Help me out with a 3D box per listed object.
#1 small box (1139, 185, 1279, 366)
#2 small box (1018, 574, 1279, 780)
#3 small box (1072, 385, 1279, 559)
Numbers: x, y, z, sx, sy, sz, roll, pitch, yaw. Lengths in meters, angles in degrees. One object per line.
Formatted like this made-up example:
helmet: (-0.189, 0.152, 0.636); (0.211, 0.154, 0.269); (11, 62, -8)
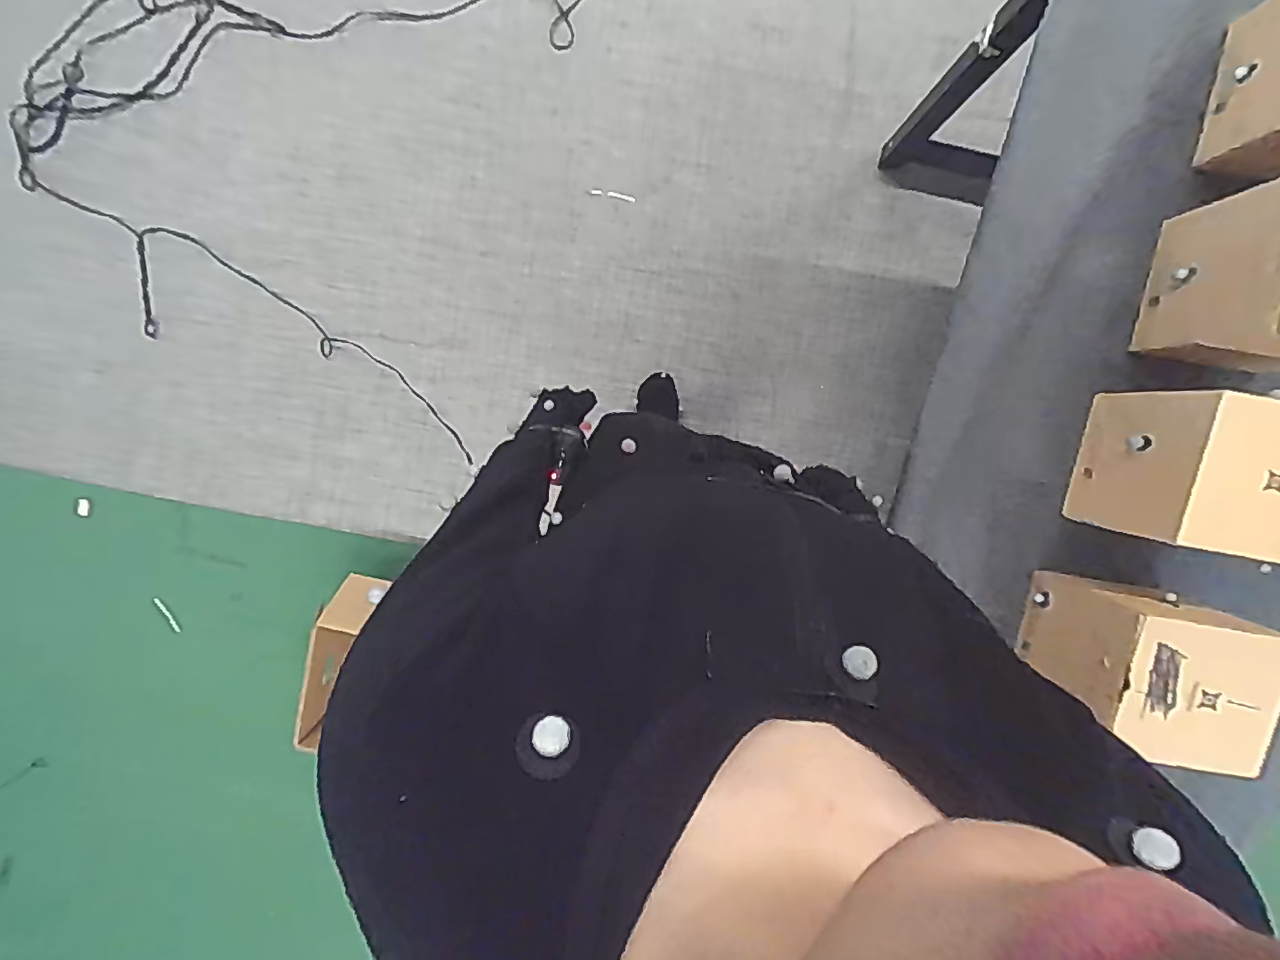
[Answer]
small box: (0.725, -0.222, 0.594); (0.179, 0.176, 0.168); (9, 98, 0)
small box: (0.610, 0.223, 0.657); (0.179, 0.176, 0.168); (9, 98, -1)
small box: (0.660, -0.010, 0.627); (0.179, 0.176, 0.168); (10, 98, -1)
